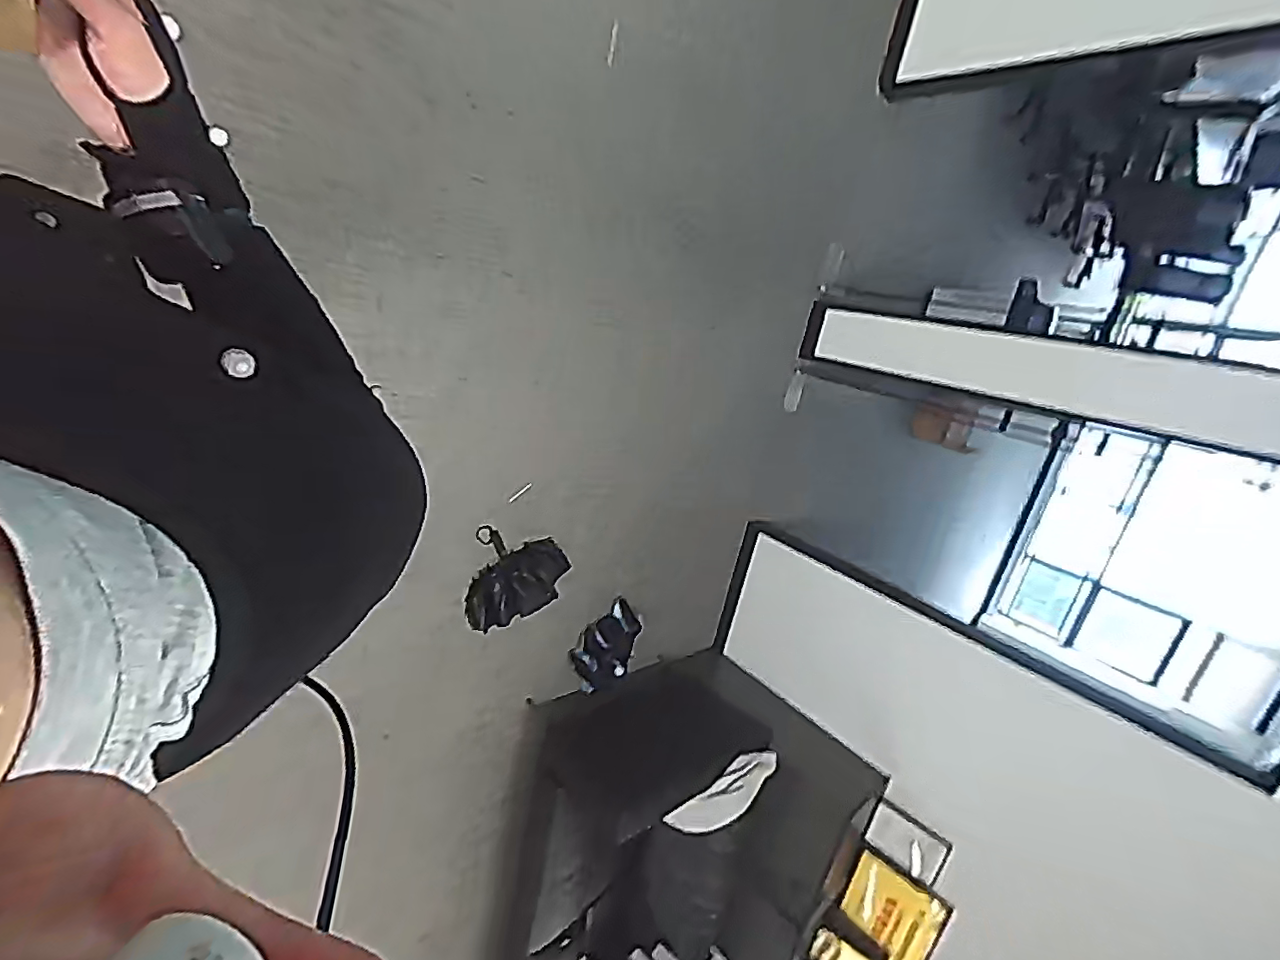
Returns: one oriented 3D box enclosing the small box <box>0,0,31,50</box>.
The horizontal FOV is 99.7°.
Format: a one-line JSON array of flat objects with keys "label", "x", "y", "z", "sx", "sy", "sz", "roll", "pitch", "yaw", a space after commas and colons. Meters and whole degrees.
[{"label": "small box", "x": -0.388, "y": -0.322, "z": 0.224, "sx": 0.168, "sy": 0.176, "sz": 0.179, "roll": -9, "pitch": 114, "yaw": -46}]
